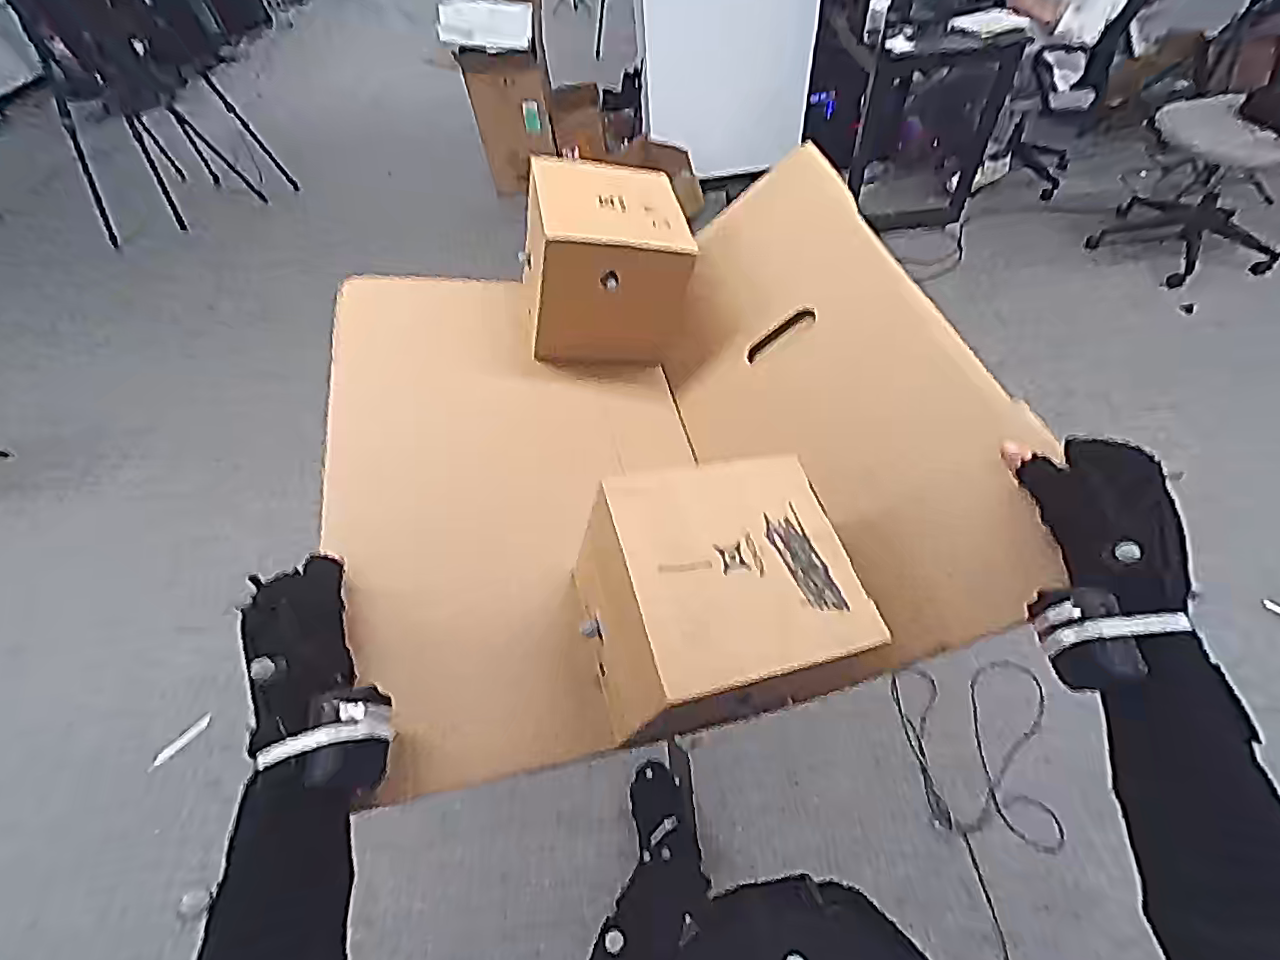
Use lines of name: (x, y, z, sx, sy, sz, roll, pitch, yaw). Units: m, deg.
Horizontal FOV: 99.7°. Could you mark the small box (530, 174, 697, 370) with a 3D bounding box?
small box: (-0.048, -0.258, 0.695, 0.179, 0.176, 0.168, -1, 55, -17)
